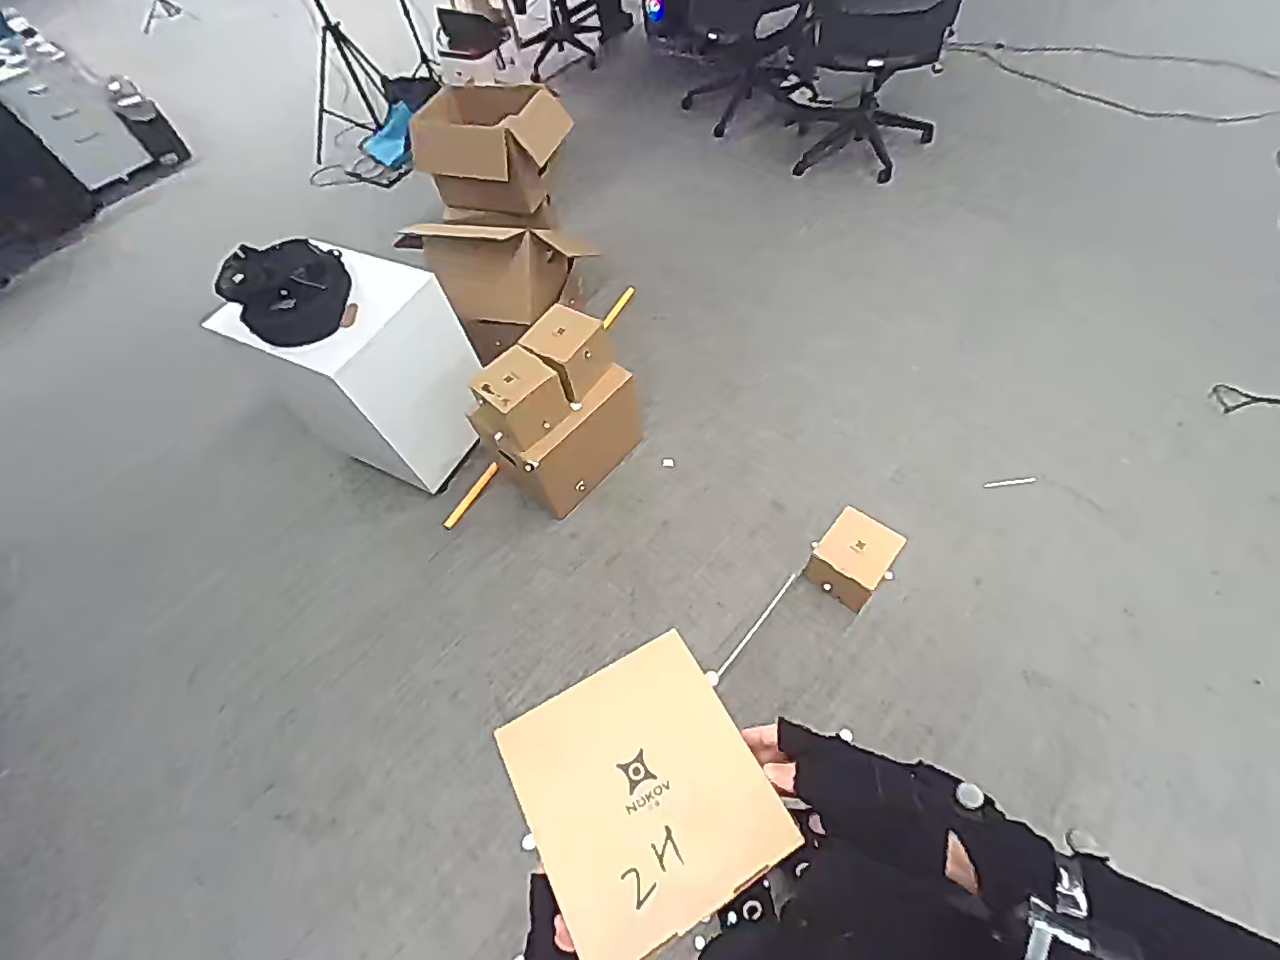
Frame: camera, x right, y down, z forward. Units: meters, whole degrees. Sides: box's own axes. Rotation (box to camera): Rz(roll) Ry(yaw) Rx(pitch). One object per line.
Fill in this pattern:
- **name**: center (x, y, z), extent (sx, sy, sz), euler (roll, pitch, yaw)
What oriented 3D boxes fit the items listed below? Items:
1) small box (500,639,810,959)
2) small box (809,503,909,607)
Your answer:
- **small box**: center (0.006, 0.268, 0.452), extent (0.168, 0.176, 0.179), euler (-26, 61, -14)
- **small box**: center (0.558, 0.197, 1.404), extent (0.168, 0.176, 0.179), euler (34, 70, 24)
